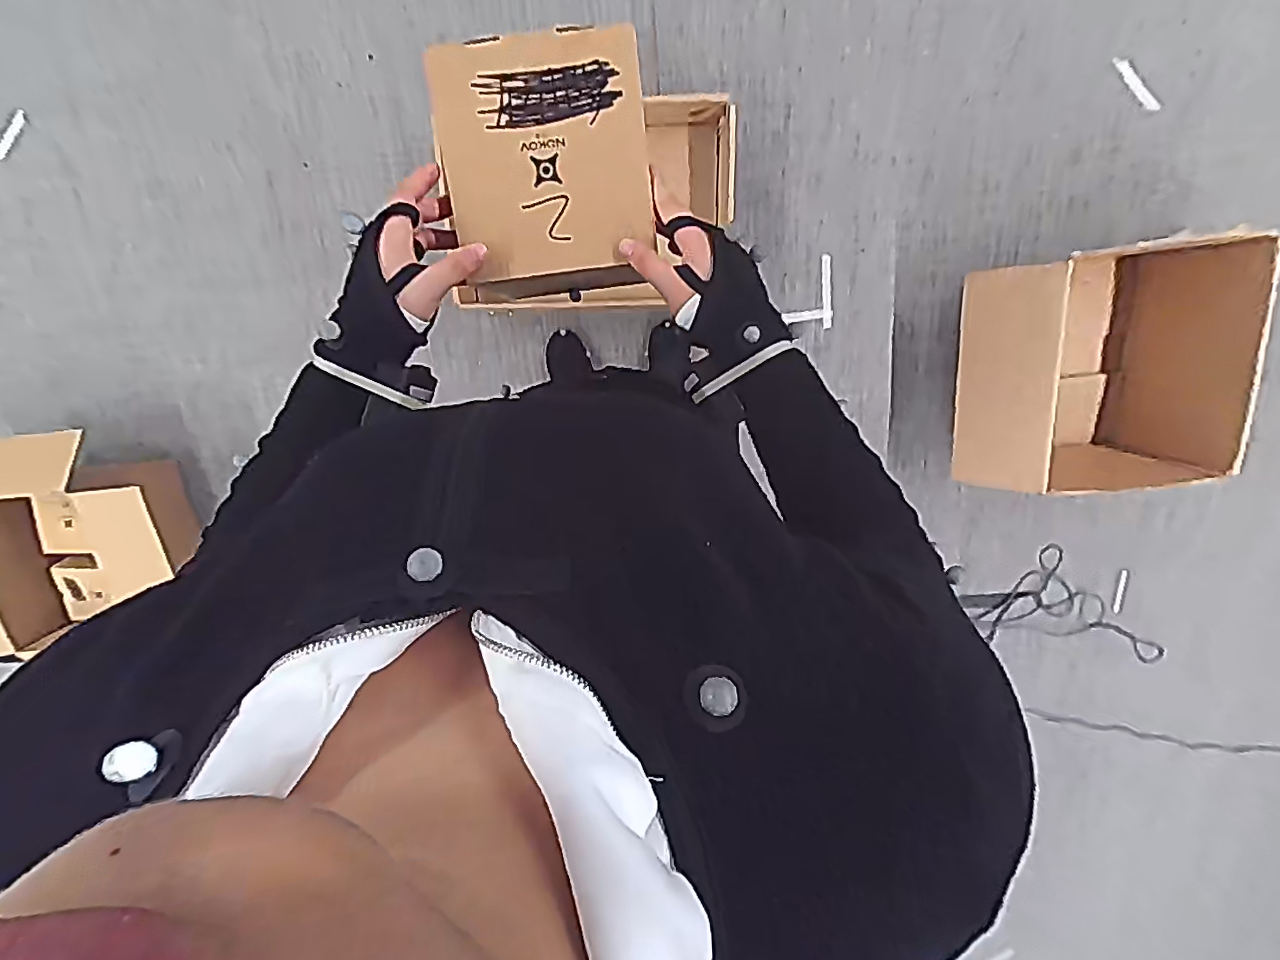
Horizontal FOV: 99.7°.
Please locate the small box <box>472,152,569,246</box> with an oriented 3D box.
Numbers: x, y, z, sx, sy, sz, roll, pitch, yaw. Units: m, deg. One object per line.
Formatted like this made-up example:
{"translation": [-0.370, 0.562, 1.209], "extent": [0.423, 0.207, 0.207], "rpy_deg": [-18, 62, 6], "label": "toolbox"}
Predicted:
{"translation": [-0.257, -0.615, 1.199], "extent": [0.179, 0.176, 0.168], "rpy_deg": [-2, 110, -2], "label": "small box"}
